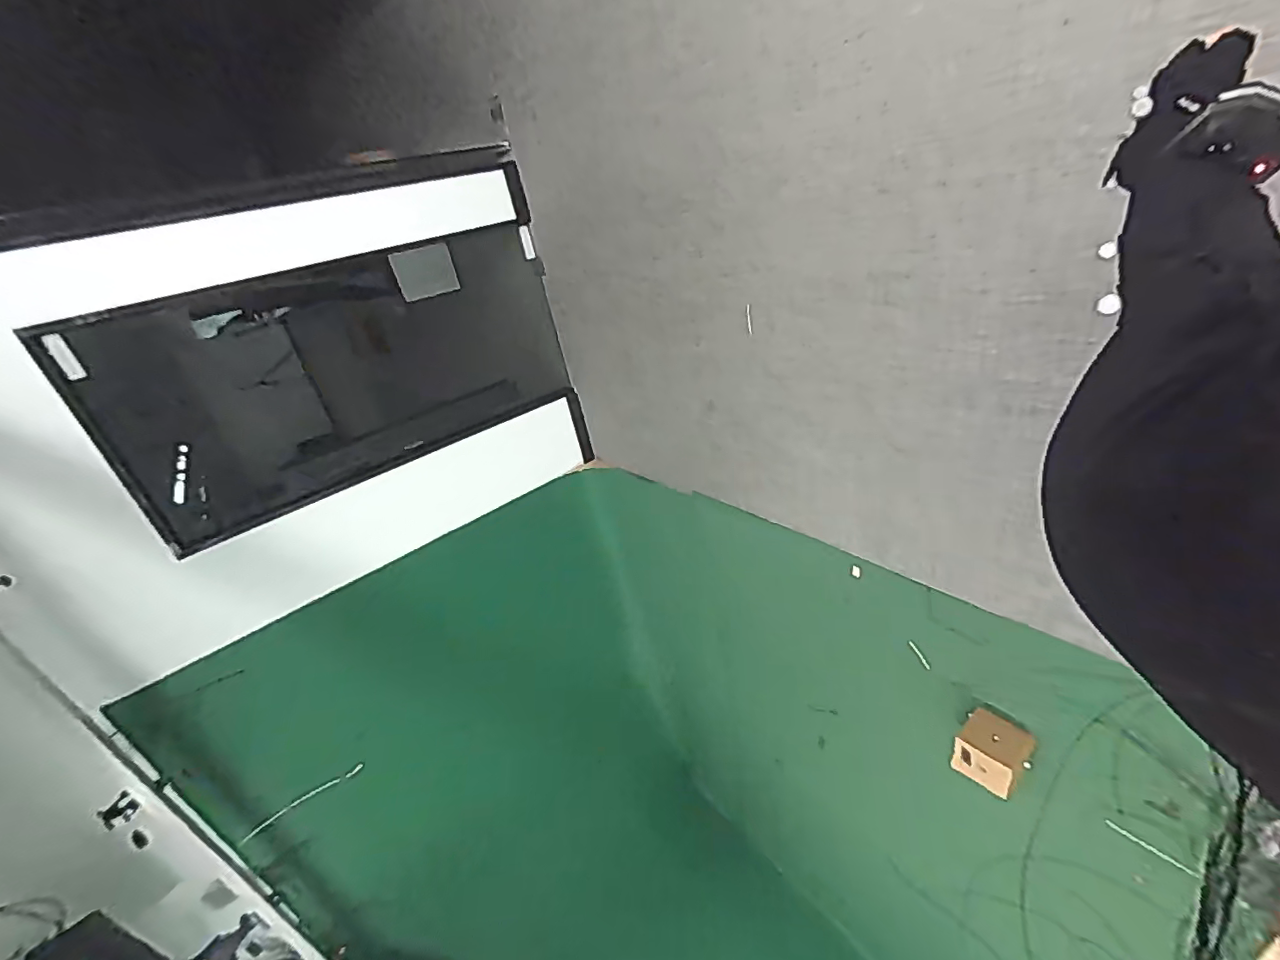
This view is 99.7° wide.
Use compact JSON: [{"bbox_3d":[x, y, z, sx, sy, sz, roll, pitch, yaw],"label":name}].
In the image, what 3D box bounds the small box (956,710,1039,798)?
[{"bbox_3d":[1.214,0.919,1.839,0.179,0.176,0.168,24,135,47],"label":"small box"}]
